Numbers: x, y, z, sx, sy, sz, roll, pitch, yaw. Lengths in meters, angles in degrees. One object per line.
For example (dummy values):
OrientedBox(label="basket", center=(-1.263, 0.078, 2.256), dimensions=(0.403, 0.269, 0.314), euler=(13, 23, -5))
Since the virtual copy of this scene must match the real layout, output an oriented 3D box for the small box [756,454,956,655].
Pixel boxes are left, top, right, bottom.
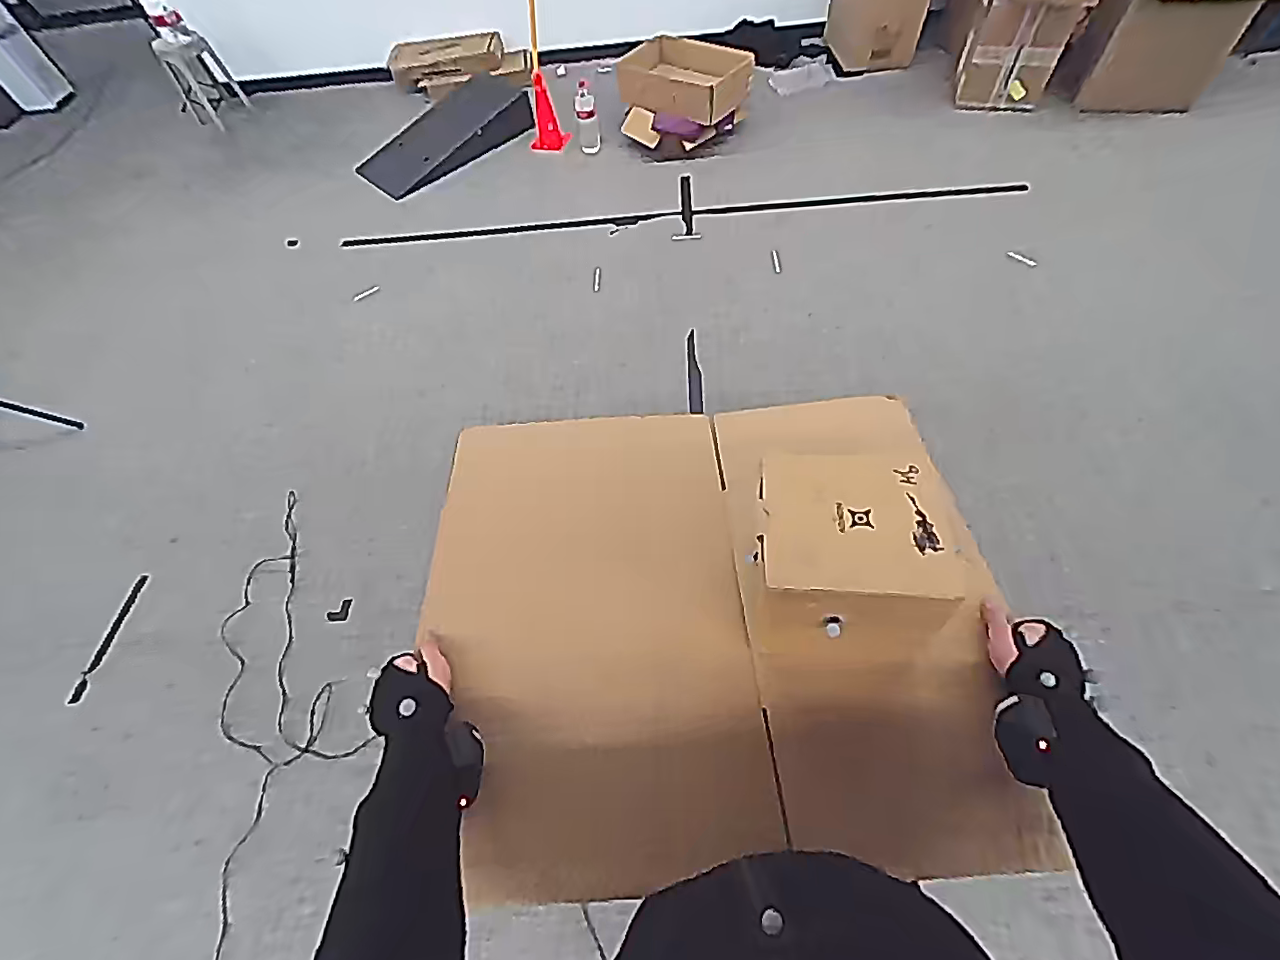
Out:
OrientedBox(label="small box", center=(0.221, 0.087, 0.608), dimensions=(0.179, 0.176, 0.168), euler=(0, 53, 11))
